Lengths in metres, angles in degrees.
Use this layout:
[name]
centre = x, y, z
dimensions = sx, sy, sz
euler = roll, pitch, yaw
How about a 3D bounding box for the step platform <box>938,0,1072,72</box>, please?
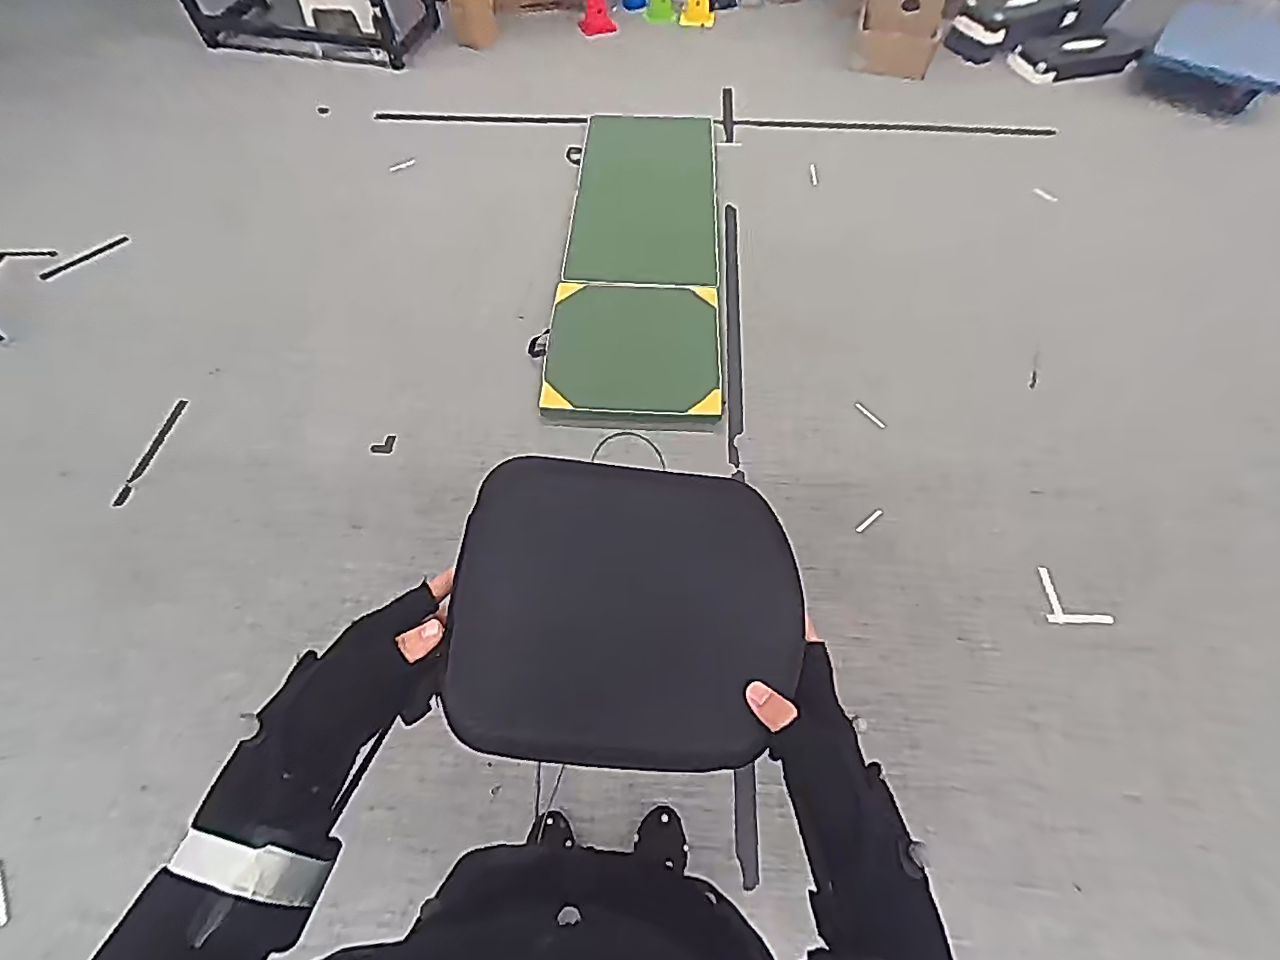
[step platform]
centre = 2.055, -2.527, 3.043
dimensions = 0.684, 0.204, 0.286
euler = -23, 63, -13
